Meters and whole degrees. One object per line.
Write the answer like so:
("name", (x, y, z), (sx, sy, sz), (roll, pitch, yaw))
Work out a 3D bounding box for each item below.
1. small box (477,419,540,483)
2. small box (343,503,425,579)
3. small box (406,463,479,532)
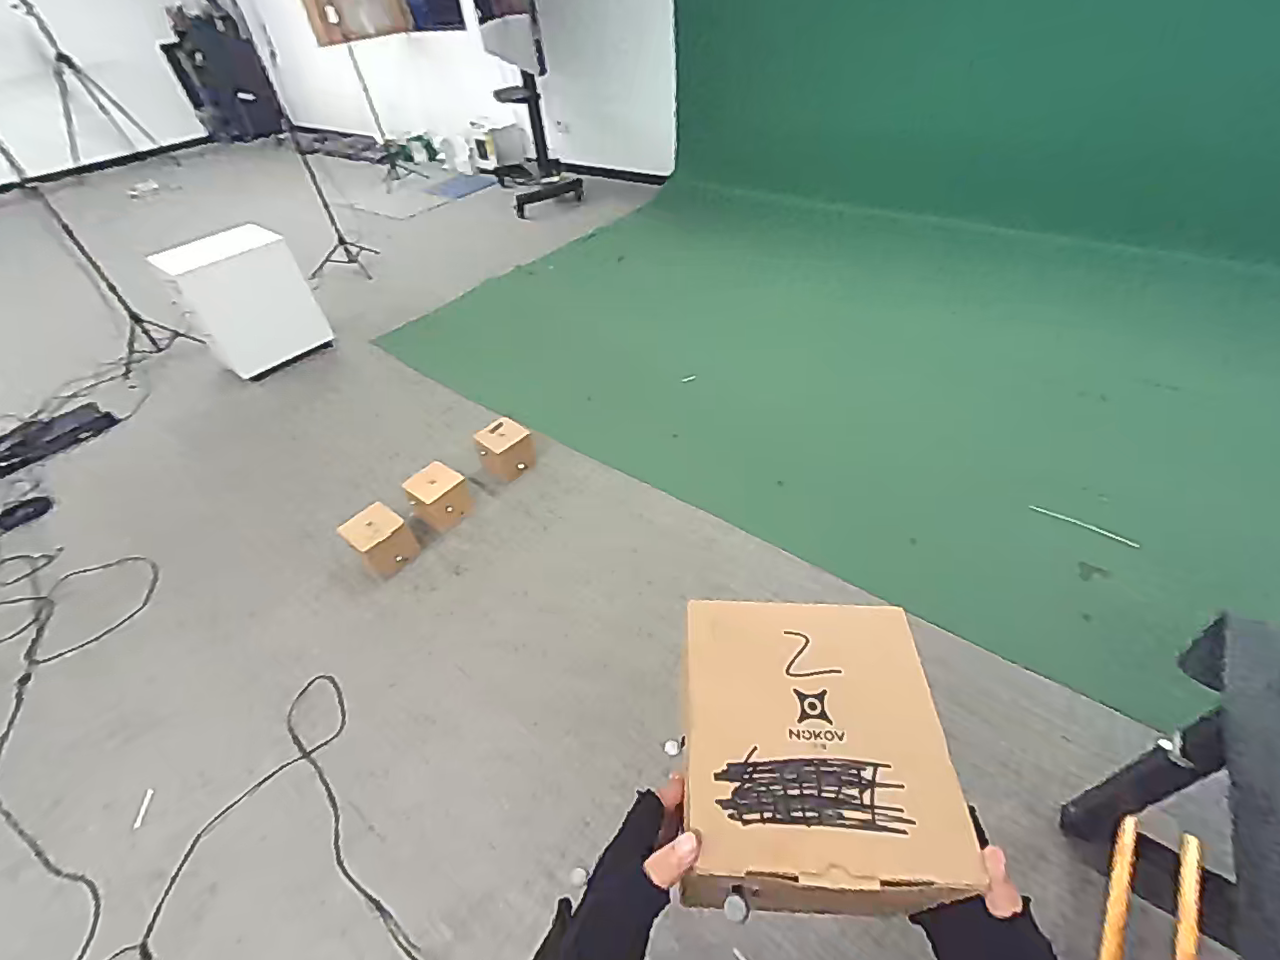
("small box", (-0.534, -0.118, 2.210), (0.179, 0.176, 0.168), (30, 54, 30))
("small box", (-0.891, 0.216, 1.896), (0.179, 0.176, 0.168), (27, 53, 29))
("small box", (-0.738, 0.069, 2.038), (0.179, 0.176, 0.168), (25, 51, 29))
